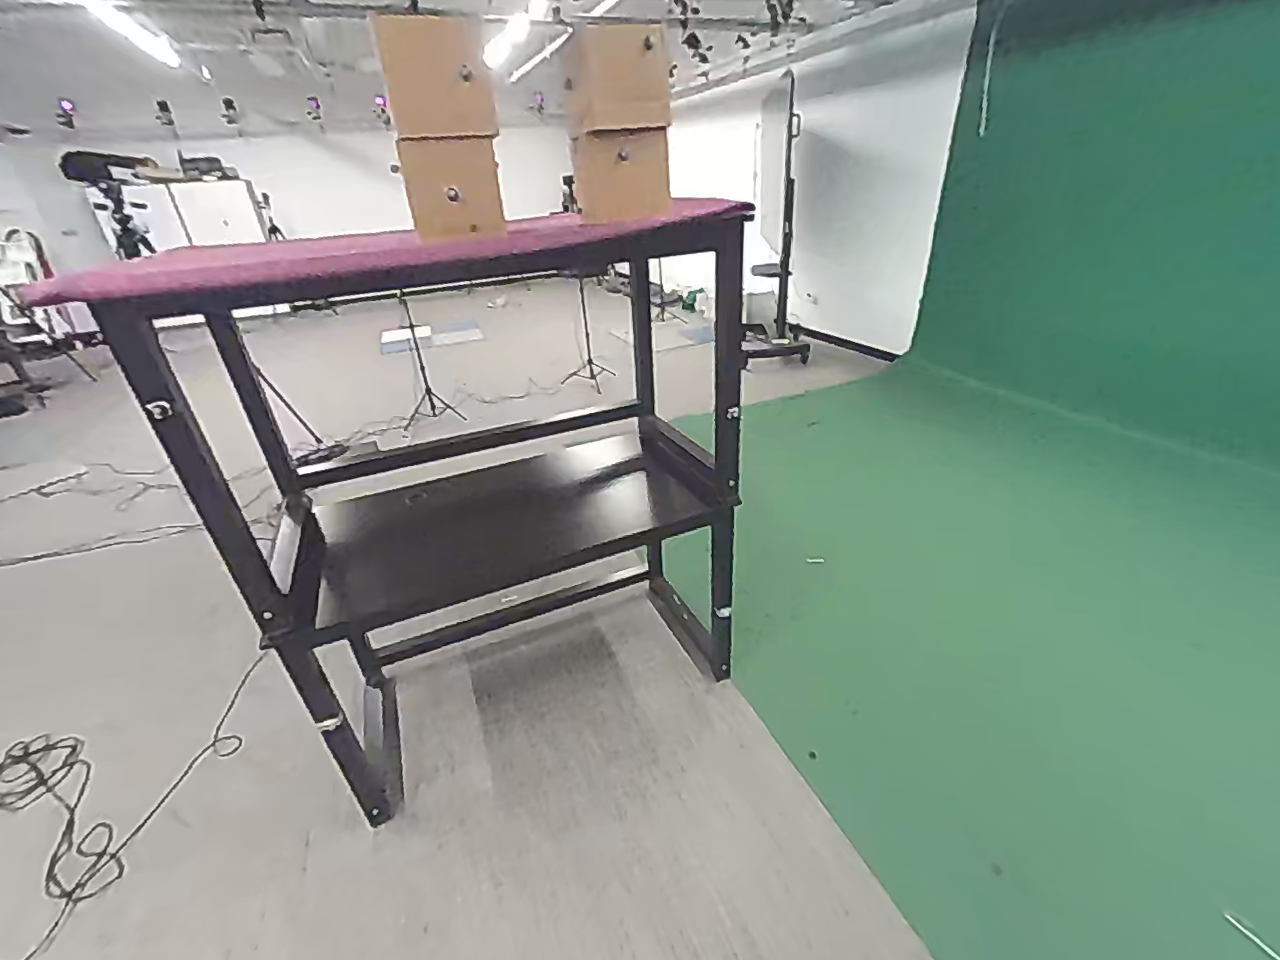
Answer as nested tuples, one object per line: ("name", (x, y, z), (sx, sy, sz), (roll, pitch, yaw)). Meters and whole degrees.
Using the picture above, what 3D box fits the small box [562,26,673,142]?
("small box", (-0.044, -0.786, 1.093), (0.179, 0.176, 0.168), (-14, 29, -17))

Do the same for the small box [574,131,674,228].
("small box", (-0.034, -0.650, 1.182), (0.179, 0.176, 0.168), (-12, 28, -13))

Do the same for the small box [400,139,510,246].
("small box", (-0.355, -0.550, 1.044), (0.168, 0.176, 0.179), (-12, 30, -17))

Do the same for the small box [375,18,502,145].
("small box", (-0.350, -0.689, 0.959), (0.179, 0.176, 0.168), (-14, 30, -16))
